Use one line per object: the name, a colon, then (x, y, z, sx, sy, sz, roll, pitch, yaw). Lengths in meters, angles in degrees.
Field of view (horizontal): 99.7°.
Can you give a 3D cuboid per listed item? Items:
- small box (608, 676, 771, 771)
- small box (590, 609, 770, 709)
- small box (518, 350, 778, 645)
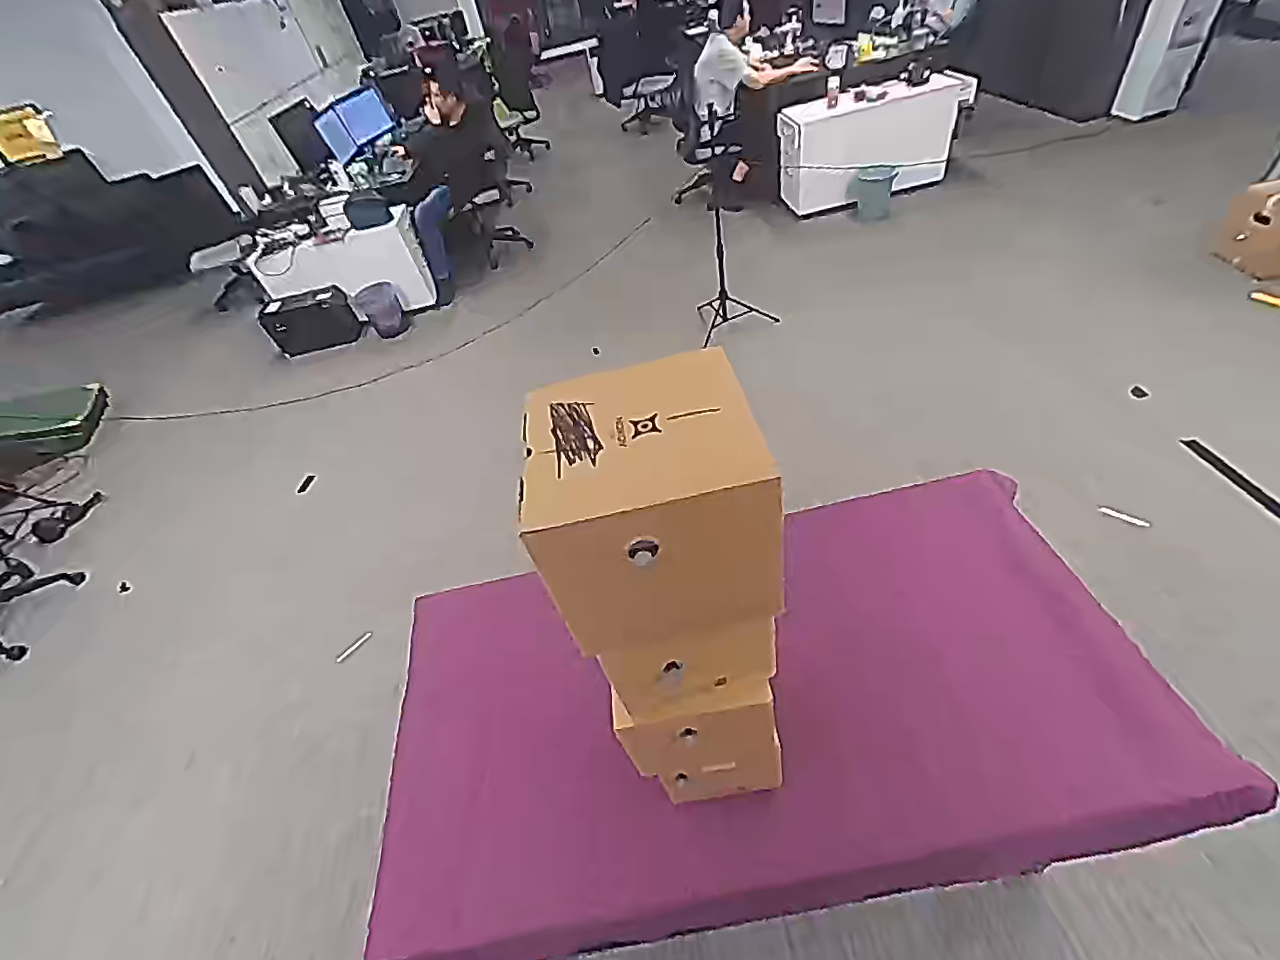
small box: (0.062, 0.250, 0.688, 0.179, 0.176, 0.168, -11, 45, 4)
small box: (0.034, 0.125, 0.587, 0.168, 0.176, 0.179, -17, 43, -2)
small box: (0.011, 0.019, 0.462, 0.179, 0.176, 0.168, -13, 44, 2)
